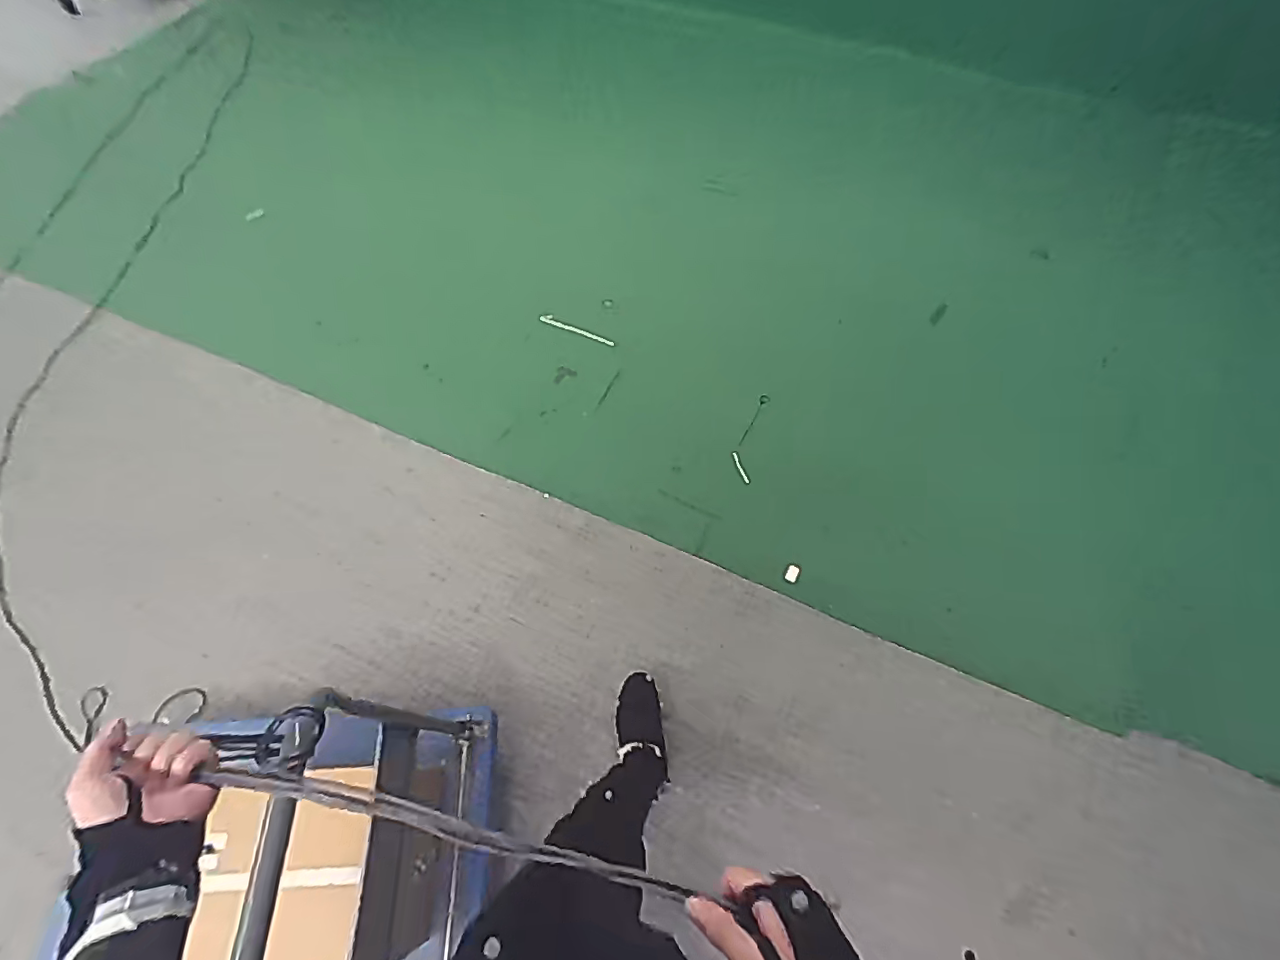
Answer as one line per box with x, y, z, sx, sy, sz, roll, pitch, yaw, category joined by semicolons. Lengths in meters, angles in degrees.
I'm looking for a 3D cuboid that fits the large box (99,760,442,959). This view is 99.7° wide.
-0.625;0.704;0.998;0.408;0.320;0.320;-4;62;0;large box
